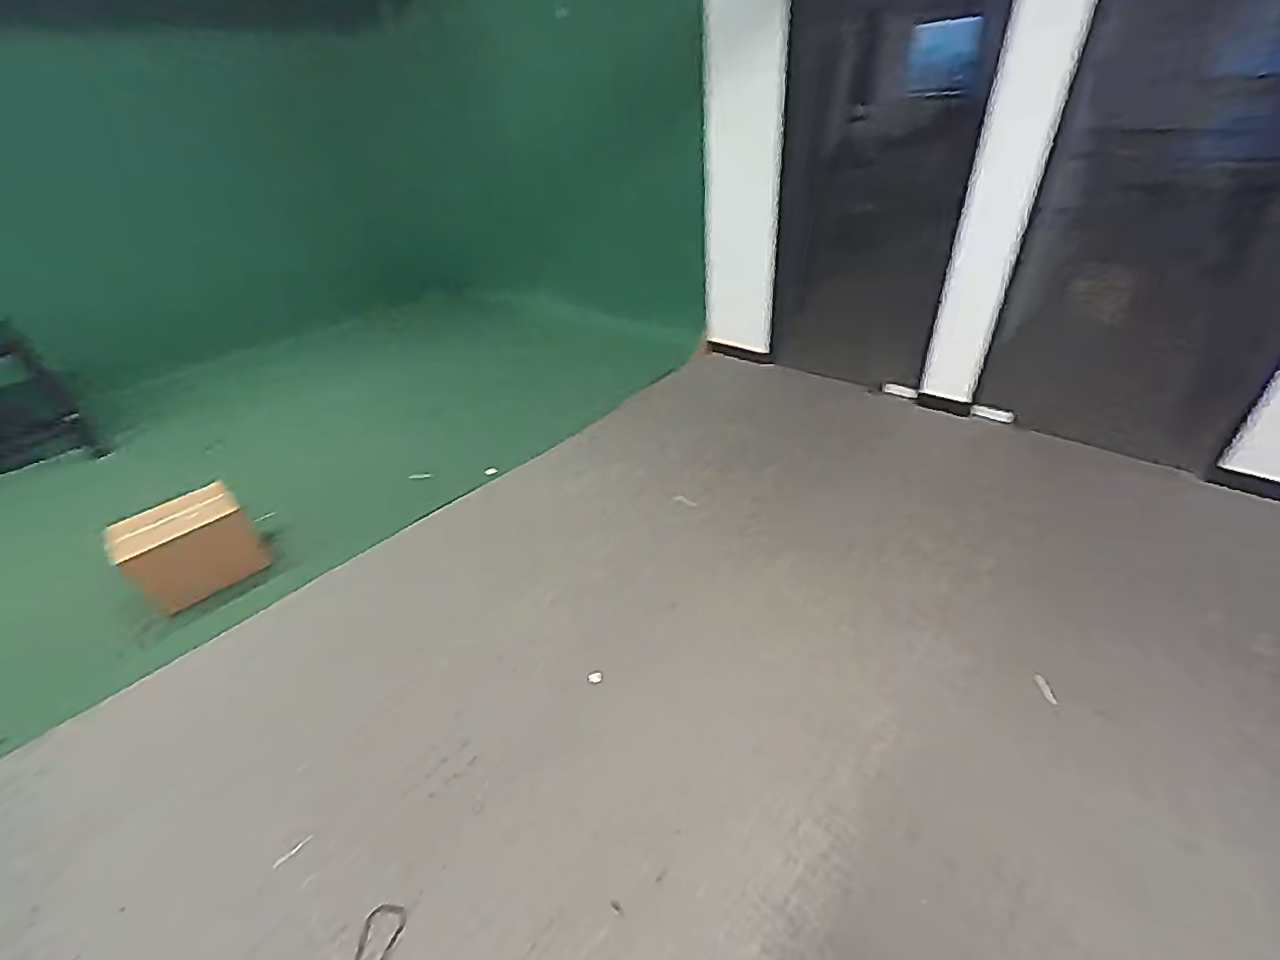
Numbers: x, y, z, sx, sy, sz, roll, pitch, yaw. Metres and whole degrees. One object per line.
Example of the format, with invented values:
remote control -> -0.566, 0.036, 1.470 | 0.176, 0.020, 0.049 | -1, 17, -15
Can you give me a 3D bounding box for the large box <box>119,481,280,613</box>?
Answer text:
large box -> -1.813, 0.271, 2.243 | 0.408, 0.320, 0.320 | -32, 44, -33
